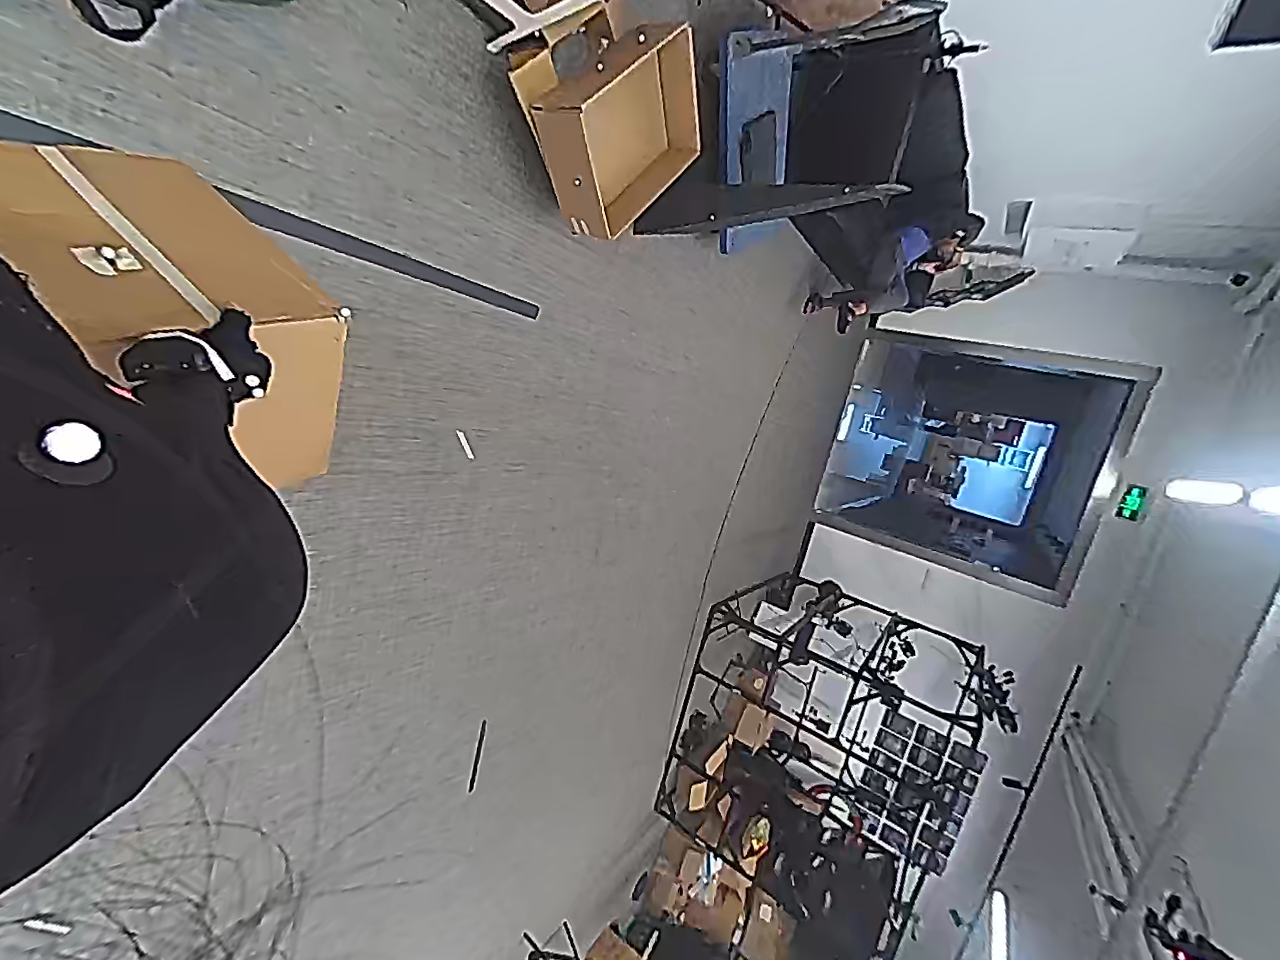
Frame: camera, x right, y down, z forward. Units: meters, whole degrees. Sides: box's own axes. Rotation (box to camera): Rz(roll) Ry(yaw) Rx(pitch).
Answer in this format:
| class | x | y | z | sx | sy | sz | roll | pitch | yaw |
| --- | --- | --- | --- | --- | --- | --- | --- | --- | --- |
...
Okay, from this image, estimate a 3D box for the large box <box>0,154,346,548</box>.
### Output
| class | x | y | z | sx | sy | sz | roll | pitch | yaw |
| --- | --- | --- | --- | --- | --- | --- | --- | --- | --- |
| large box | -0.697 | -0.187 | 0.757 | 0.320 | 0.408 | 0.320 | -34 | 162 | -51 |
